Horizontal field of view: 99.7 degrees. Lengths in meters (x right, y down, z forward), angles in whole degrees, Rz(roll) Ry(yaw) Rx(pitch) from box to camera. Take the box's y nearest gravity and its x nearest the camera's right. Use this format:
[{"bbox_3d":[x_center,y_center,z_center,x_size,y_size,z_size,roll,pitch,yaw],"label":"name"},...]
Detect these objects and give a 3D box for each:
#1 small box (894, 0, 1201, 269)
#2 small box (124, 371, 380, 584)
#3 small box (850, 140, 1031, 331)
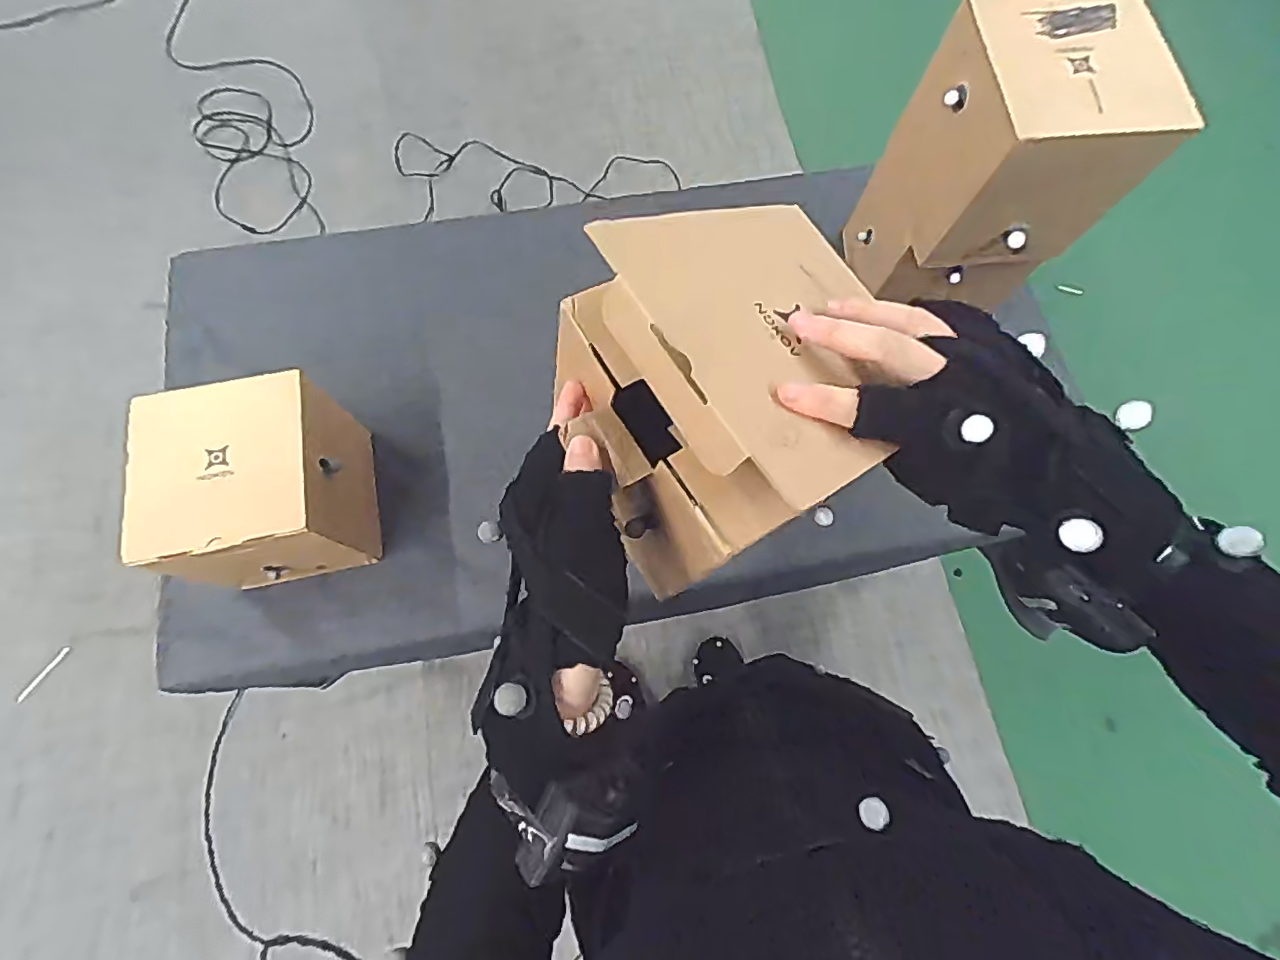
[{"bbox_3d":[0.389,-0.346,0.557,0.168,0.176,0.179,-4,74,-2],"label":"small box"},{"bbox_3d":[-0.409,0.006,0.600,0.168,0.176,0.179,-11,73,-5],"label":"small box"},{"bbox_3d":[0.394,-0.315,0.719,0.179,0.176,0.168,2,73,0],"label":"small box"}]
